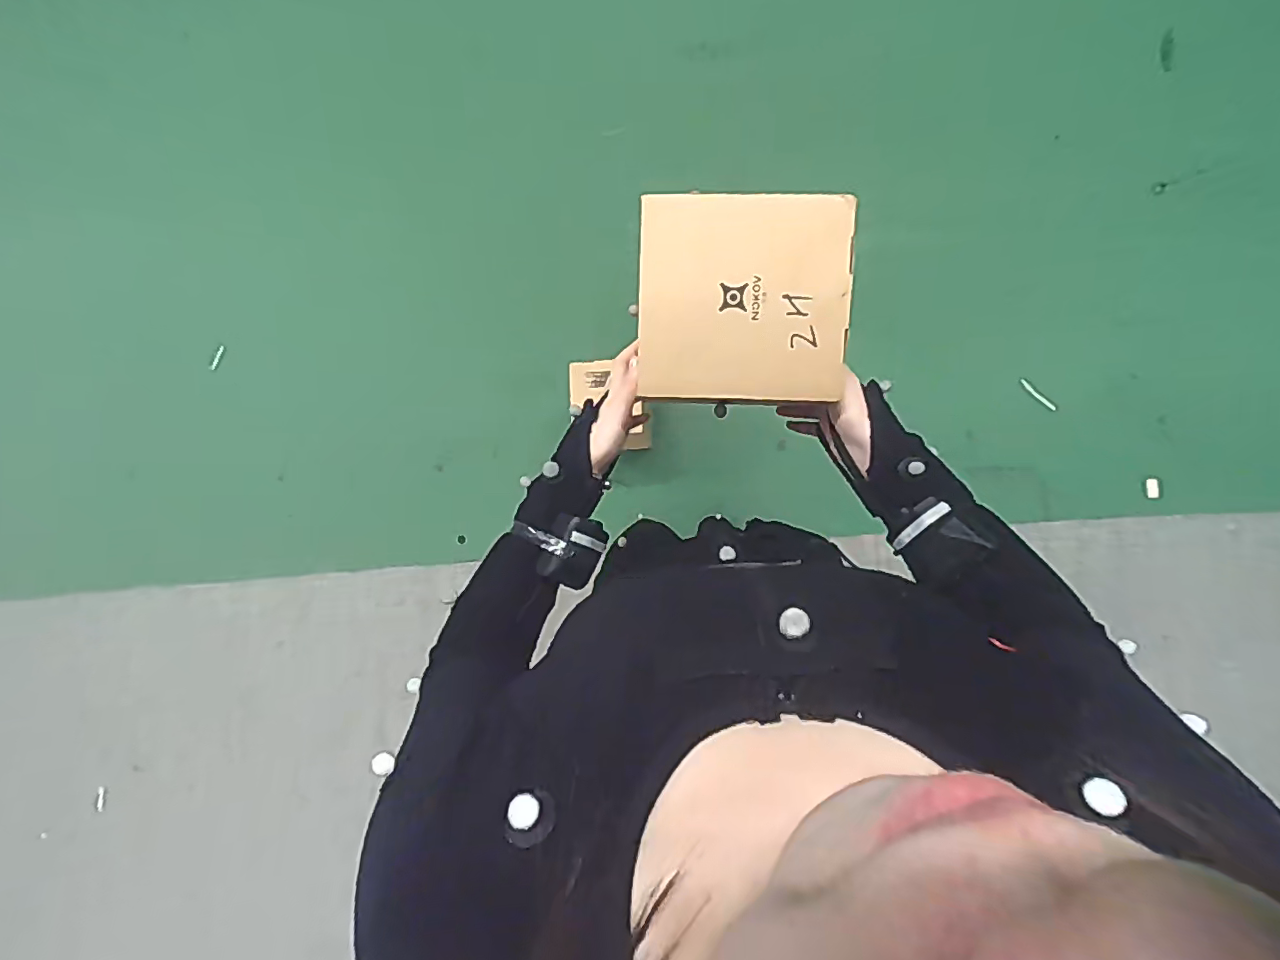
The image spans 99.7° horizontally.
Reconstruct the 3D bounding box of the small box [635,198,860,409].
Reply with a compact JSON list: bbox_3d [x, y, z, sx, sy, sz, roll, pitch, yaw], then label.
[{"bbox_3d":[0.091,-0.155,0.525,0.179,0.176,0.168,2,99,3],"label":"small box"}]

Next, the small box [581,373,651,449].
[{"bbox_3d":[-0.060,-0.180,1.468,0.168,0.176,0.179,-4,85,5],"label":"small box"}]
